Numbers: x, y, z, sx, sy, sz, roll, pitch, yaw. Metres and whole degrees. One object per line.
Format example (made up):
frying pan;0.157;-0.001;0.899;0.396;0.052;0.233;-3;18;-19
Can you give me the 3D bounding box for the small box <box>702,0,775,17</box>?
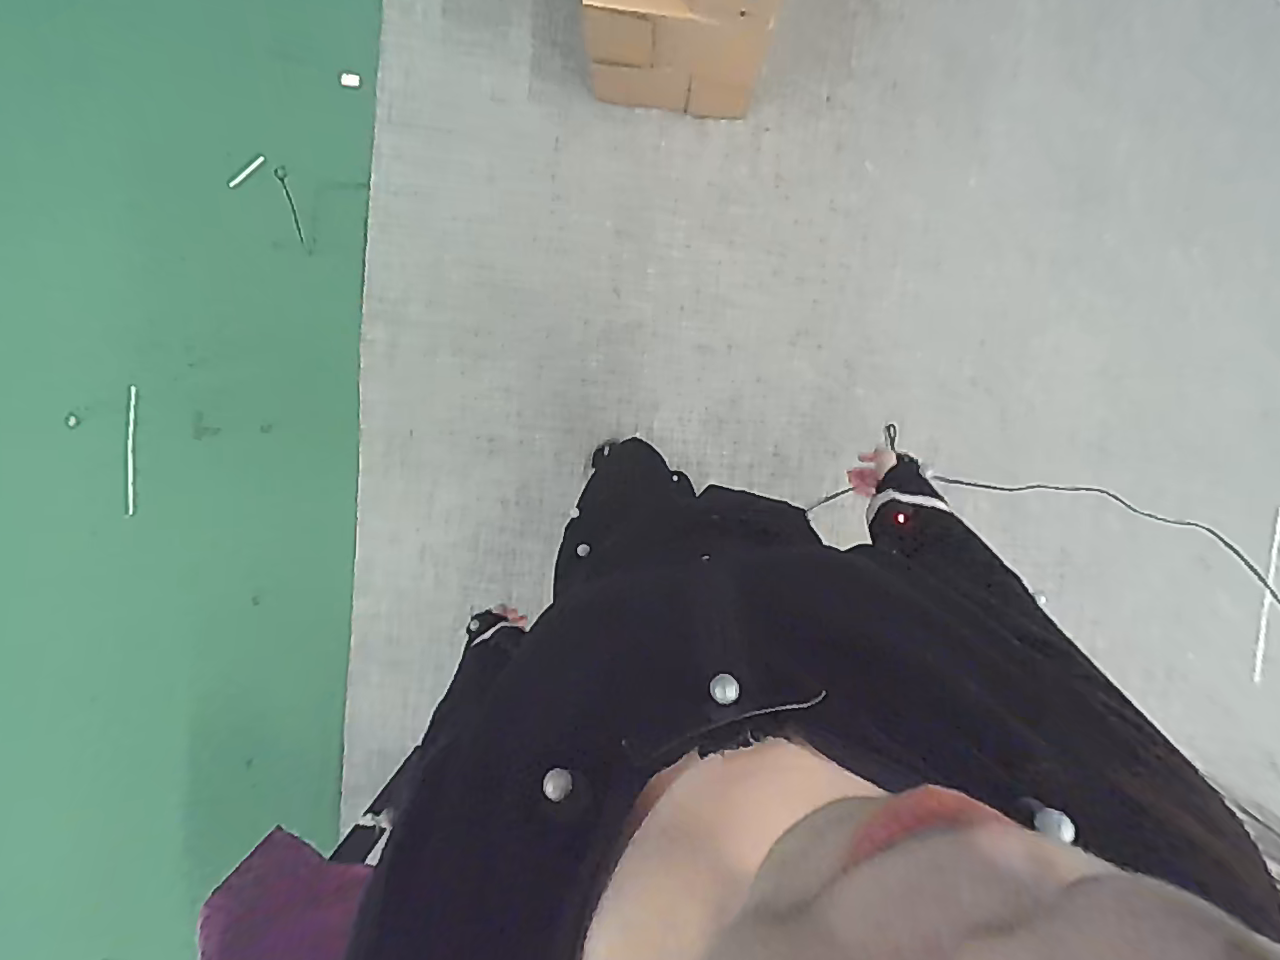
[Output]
small box;0.200;-1.031;1.017;0.168;0.176;0.179;12;92;-1
